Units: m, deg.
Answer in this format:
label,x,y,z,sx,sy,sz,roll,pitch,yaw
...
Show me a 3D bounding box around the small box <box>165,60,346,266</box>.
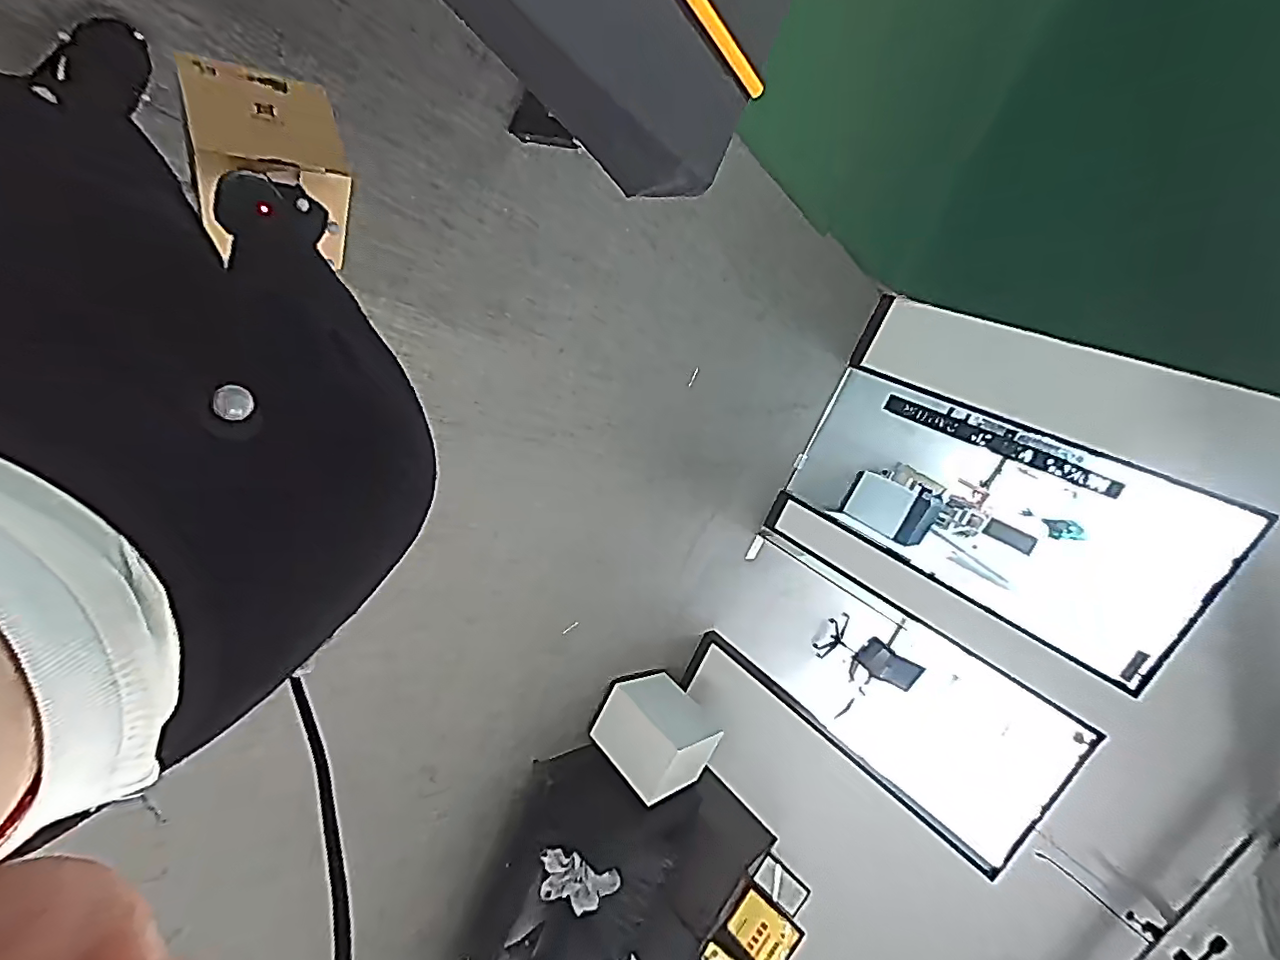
label,x,y,z,sx,sy,sz,roll,pitch,yaw
small box,-0.520,-0.421,0.748,0.168,0.179,0.176,-15,161,-36
